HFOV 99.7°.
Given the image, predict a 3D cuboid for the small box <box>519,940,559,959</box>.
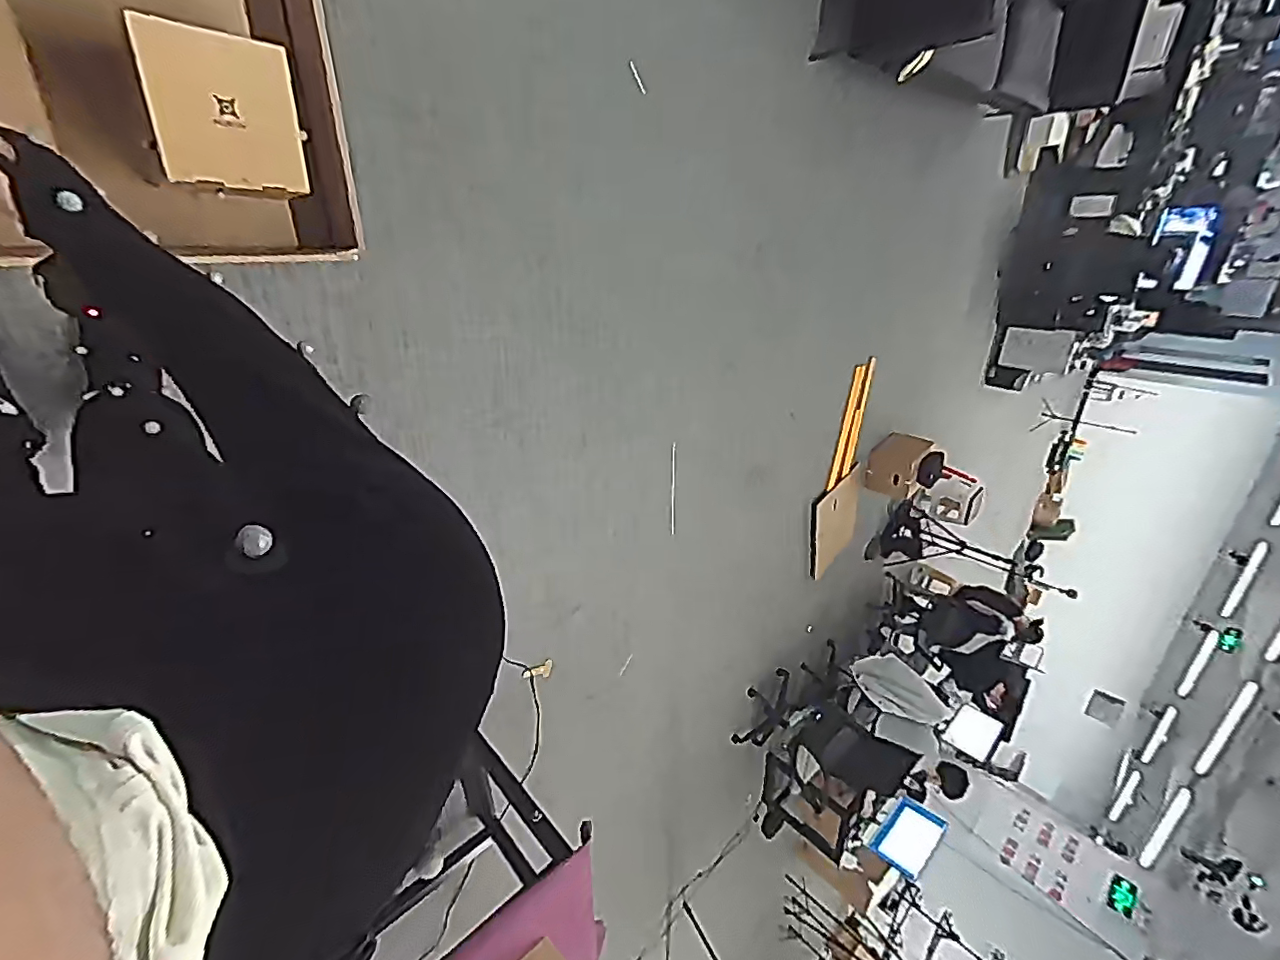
[{"bbox_3d":[-0.281,1.439,1.492,0.168,0.176,0.179,-23,123,-40],"label":"small box"}]
